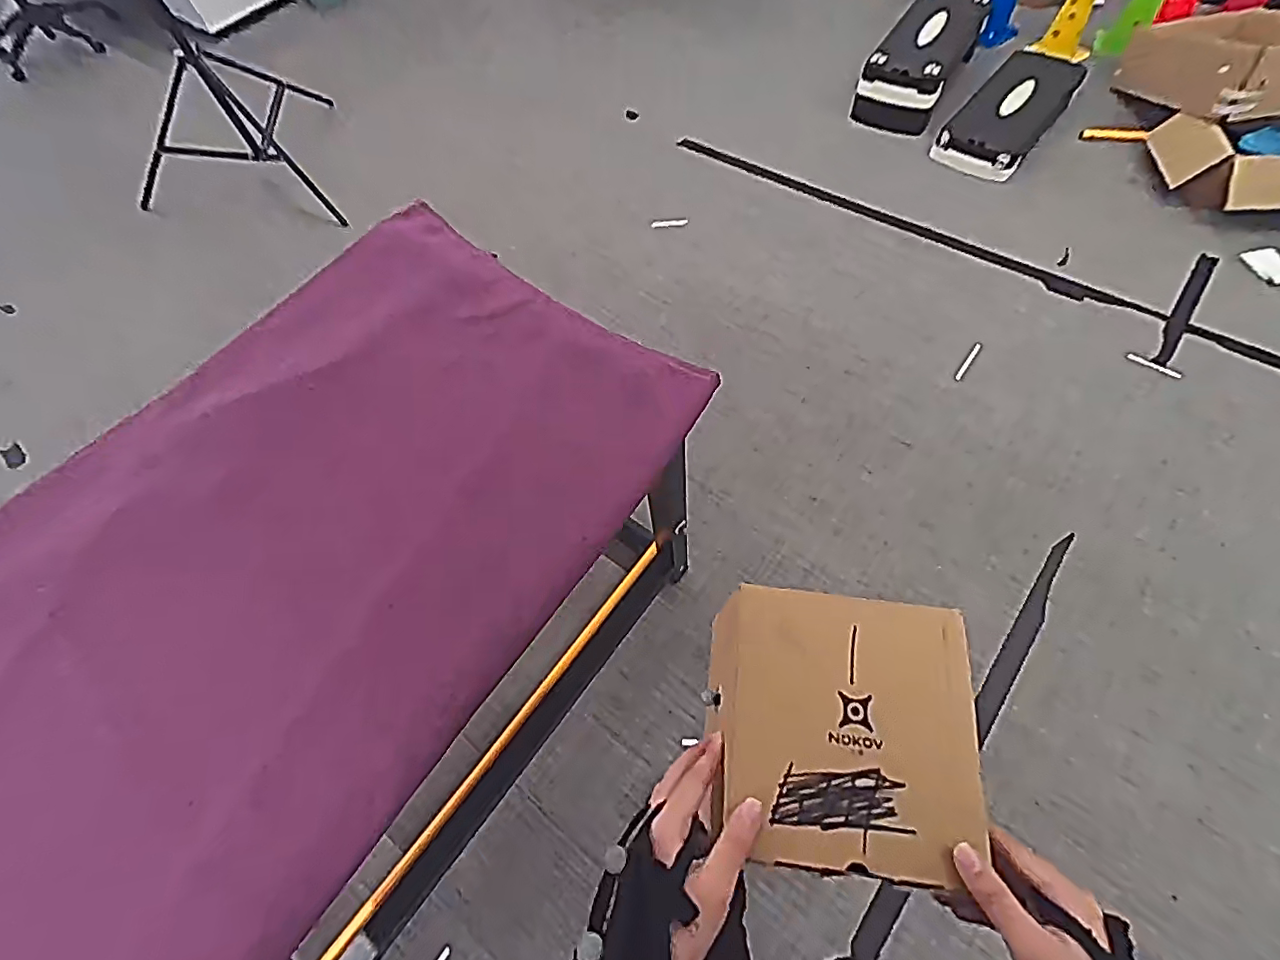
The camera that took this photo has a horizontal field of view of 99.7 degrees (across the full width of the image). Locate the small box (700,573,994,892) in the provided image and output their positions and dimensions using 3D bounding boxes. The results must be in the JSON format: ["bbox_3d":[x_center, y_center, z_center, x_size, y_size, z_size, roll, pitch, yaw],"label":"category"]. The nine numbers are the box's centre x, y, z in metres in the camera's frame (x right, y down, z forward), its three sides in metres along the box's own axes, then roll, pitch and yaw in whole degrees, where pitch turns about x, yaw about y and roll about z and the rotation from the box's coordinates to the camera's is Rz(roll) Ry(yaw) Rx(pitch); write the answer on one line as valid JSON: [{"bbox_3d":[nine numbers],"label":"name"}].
[{"bbox_3d":[0.141,0.189,0.431,0.168,0.176,0.179,7,65,3],"label":"small box"}]
